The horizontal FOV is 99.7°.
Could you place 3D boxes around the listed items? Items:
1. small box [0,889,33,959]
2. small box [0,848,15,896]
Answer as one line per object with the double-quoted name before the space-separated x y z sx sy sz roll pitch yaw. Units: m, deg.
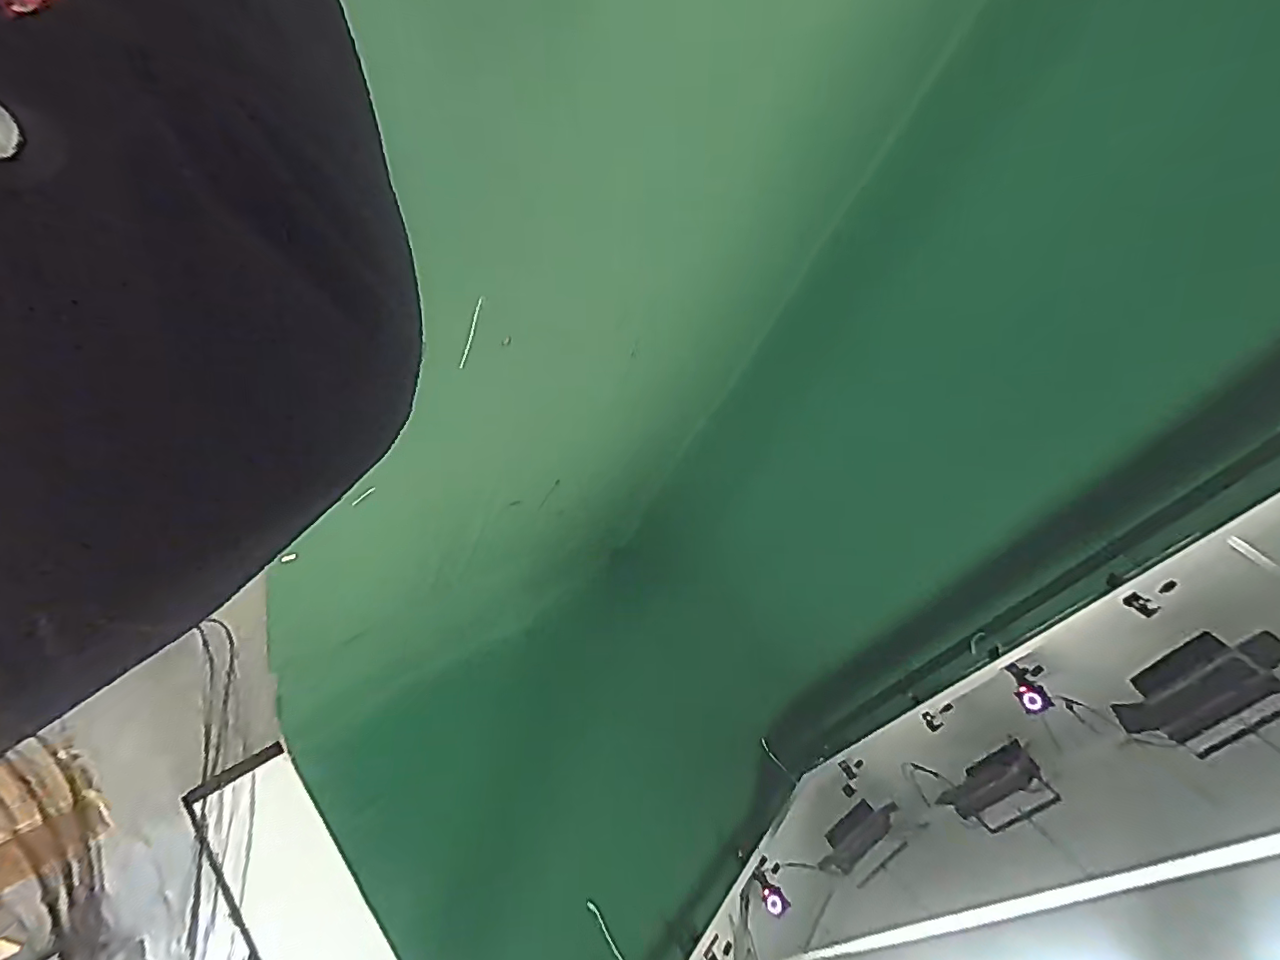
"small box" -1.637 1.134 1.310 0.168 0.176 0.179 -27 154 -45
"small box" -1.744 1.021 1.360 0.168 0.176 0.179 -27 155 -43
